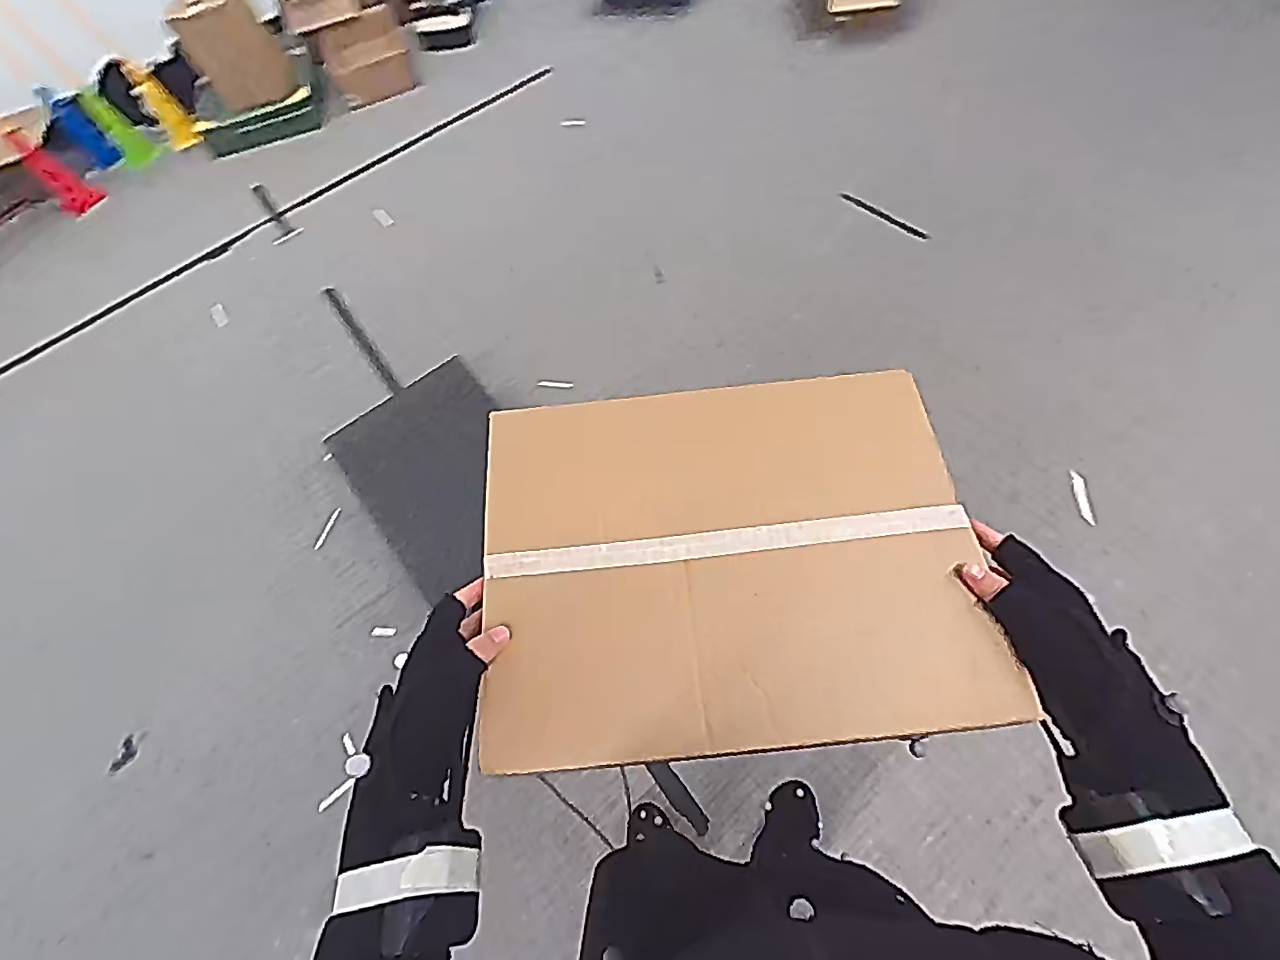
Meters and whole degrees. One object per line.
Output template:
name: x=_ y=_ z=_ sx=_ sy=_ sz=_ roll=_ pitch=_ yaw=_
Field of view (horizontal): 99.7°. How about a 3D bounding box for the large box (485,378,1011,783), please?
large box: x=0.073 y=0.124 z=0.597 sx=0.408 sy=0.320 sz=0.320 roll=-7 pitch=63 yaw=0
